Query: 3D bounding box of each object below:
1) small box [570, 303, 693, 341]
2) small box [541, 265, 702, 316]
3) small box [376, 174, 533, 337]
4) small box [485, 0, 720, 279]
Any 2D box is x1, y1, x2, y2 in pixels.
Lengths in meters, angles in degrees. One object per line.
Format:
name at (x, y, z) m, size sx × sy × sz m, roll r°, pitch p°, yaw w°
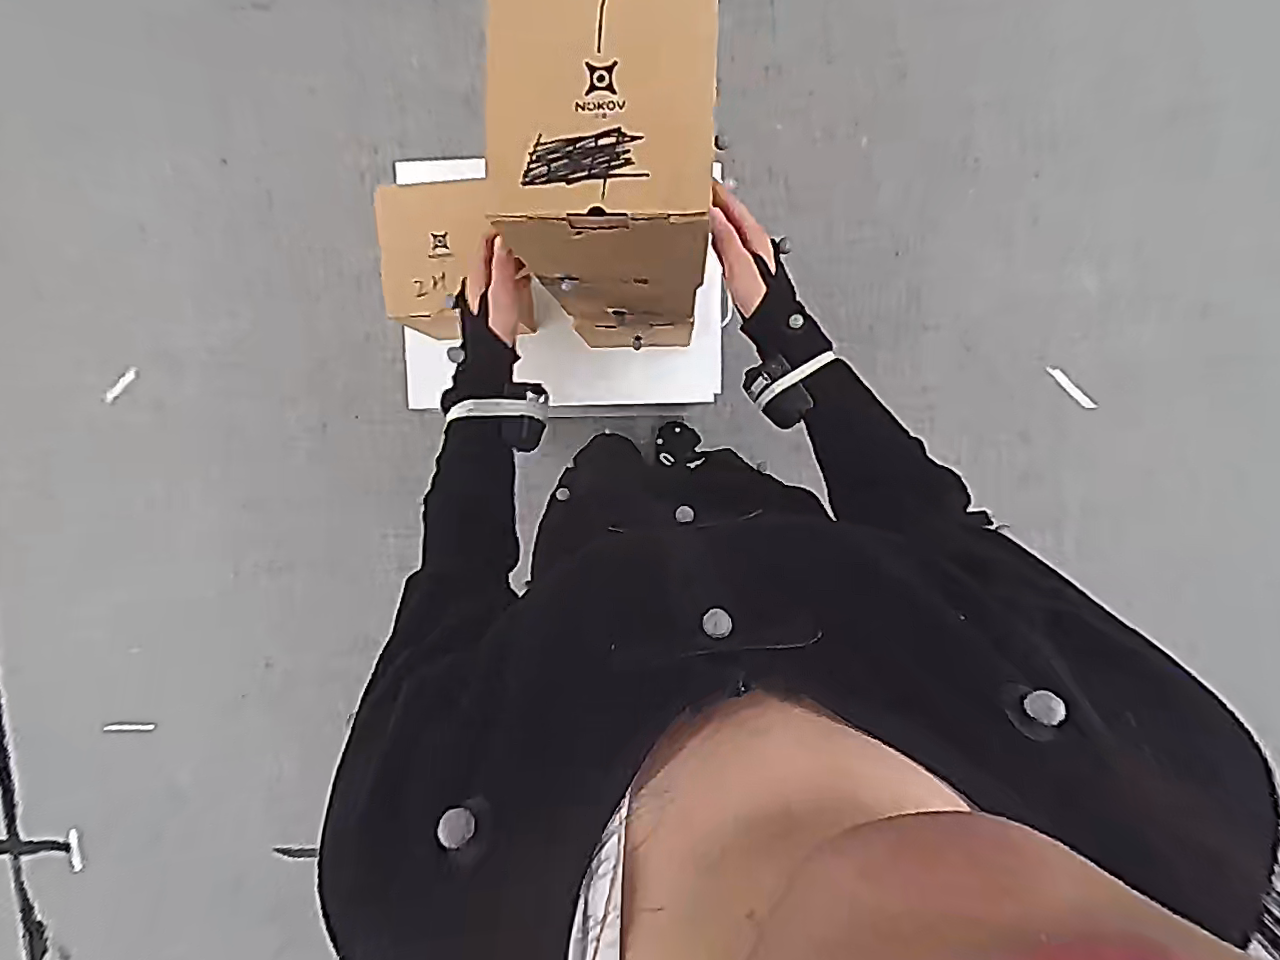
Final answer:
small box at (-0.005, -0.300, 0.784) m, size 0.168 × 0.176 × 0.179 m, roll 0°, pitch 96°, yaw 4°
small box at (-0.014, -0.296, 0.621) m, size 0.168 × 0.176 × 0.179 m, roll 0°, pitch 95°, yaw 4°
small box at (-0.260, -0.317, 0.793) m, size 0.168 × 0.176 × 0.179 m, roll -3°, pitch 95°, yaw 3°
small box at (-0.021, -0.280, 0.457) m, size 0.168 × 0.176 × 0.179 m, roll 2°, pitch 93°, yaw 4°
